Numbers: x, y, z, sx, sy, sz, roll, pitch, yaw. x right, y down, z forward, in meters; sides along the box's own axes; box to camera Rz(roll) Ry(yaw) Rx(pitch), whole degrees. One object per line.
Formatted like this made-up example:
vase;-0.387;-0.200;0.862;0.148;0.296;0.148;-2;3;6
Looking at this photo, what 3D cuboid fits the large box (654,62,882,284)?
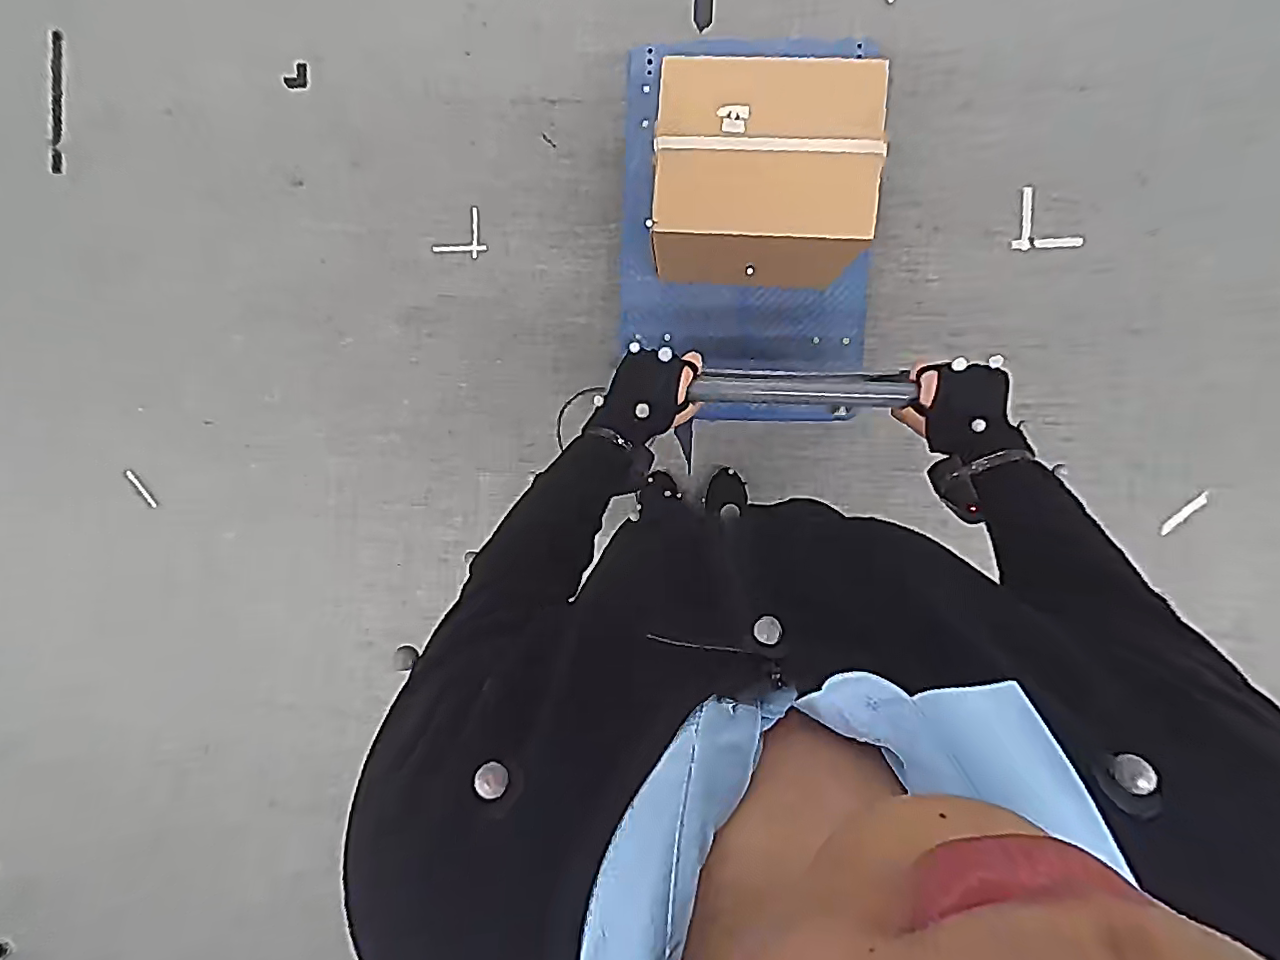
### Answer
large box;0.246;-0.613;1.139;0.408;0.320;0.320;4;93;5
